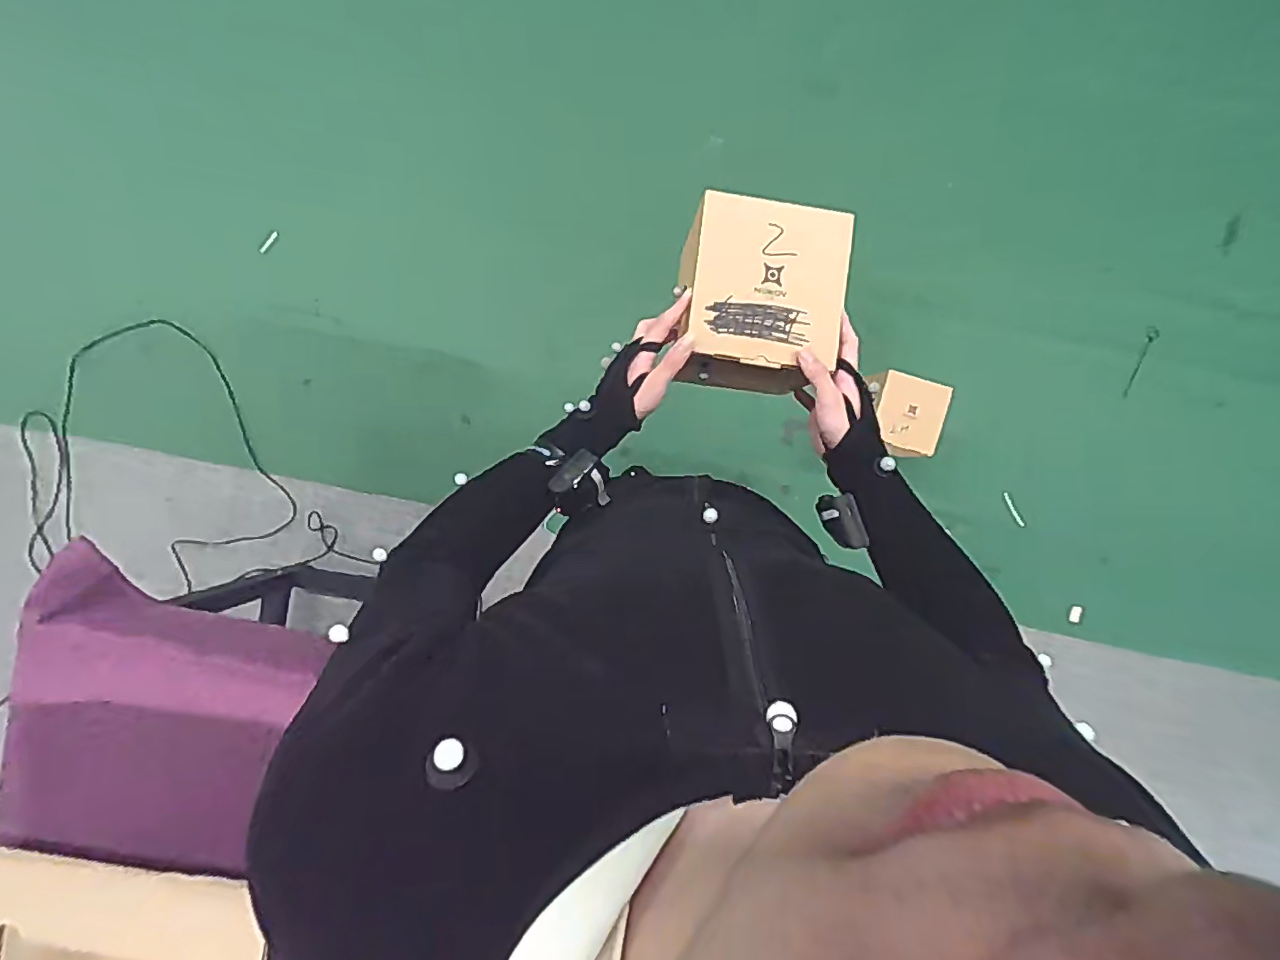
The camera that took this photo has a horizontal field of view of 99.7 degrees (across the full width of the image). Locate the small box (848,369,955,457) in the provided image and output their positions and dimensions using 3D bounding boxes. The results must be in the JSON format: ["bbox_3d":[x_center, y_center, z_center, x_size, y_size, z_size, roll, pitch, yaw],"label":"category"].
[{"bbox_3d":[0.657,-0.165,1.382,0.168,0.176,0.179,17,92,-1],"label":"small box"}]

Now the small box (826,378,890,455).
[{"bbox_3d":[0.654,-0.176,1.546,0.168,0.176,0.179,15,92,-1],"label":"small box"}]
